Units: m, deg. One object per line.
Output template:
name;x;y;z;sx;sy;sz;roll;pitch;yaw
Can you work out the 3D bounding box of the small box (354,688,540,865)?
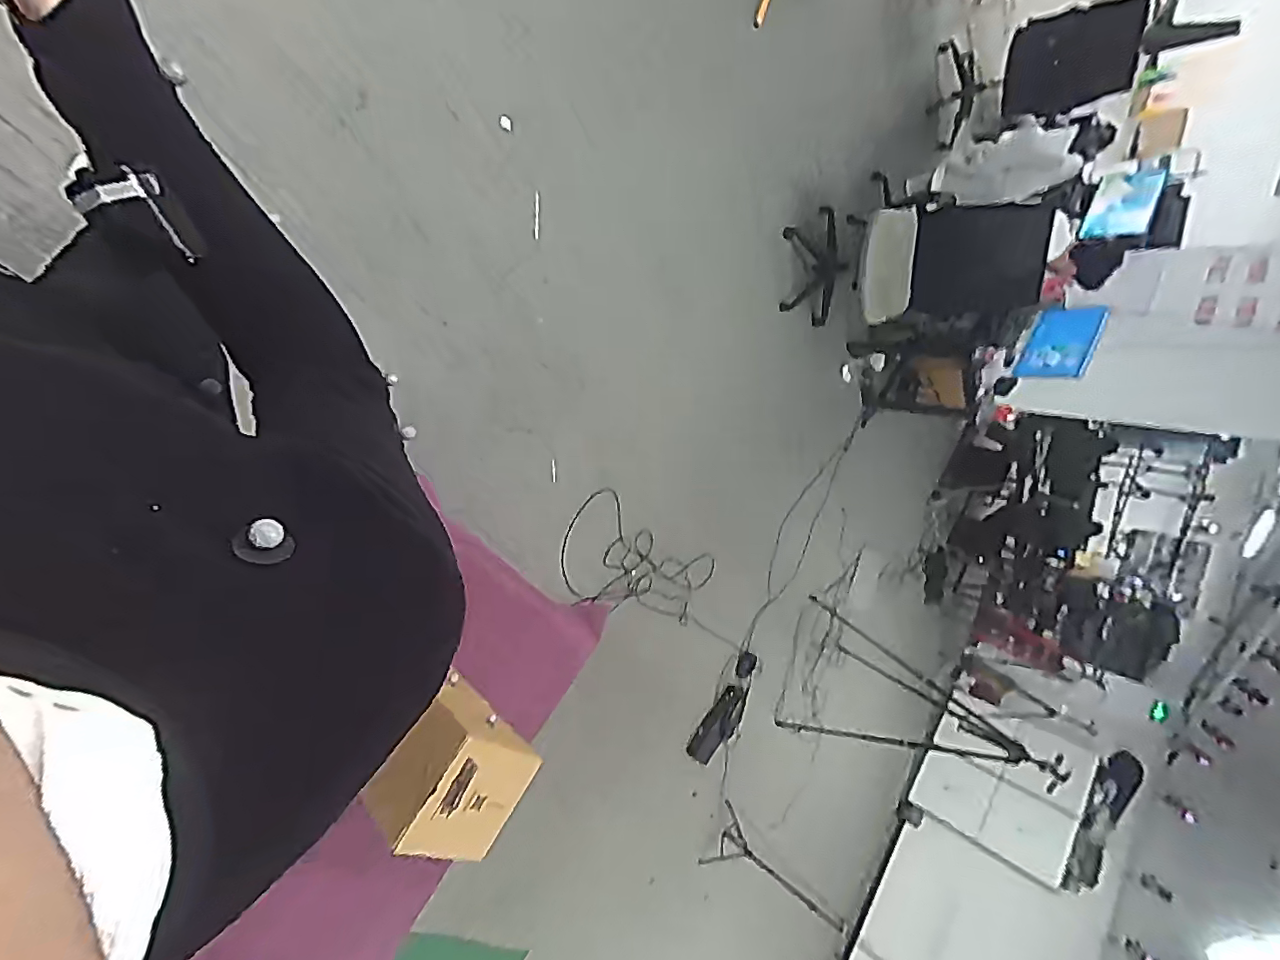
small box;-0.297;0.446;0.831;0.168;0.176;0.179;-56;136;-17
